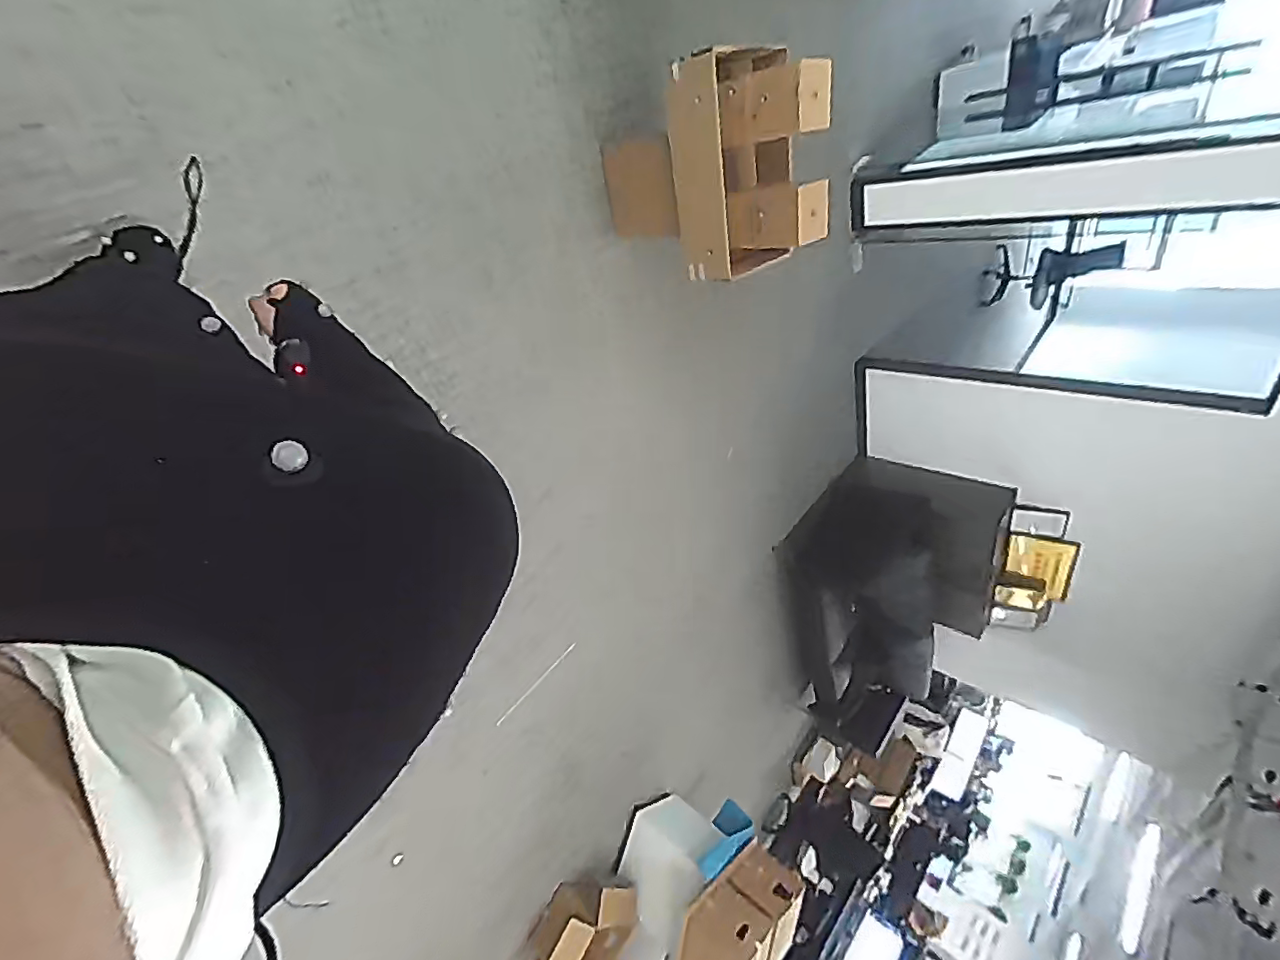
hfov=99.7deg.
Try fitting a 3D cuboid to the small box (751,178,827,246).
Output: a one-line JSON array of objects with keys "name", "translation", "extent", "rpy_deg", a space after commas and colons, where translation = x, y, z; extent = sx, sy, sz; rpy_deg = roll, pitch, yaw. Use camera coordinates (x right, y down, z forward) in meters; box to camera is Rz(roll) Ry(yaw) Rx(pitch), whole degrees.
[{"name": "small box", "translation": [0.468, -0.840, 1.697], "extent": [0.179, 0.176, 0.168], "rpy_deg": [-33, 127, -34]}]

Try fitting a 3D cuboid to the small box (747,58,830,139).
[{"name": "small box", "translation": [0.424, -1.092, 1.551], "extent": [0.179, 0.176, 0.168], "rpy_deg": [-33, 128, -35]}]
